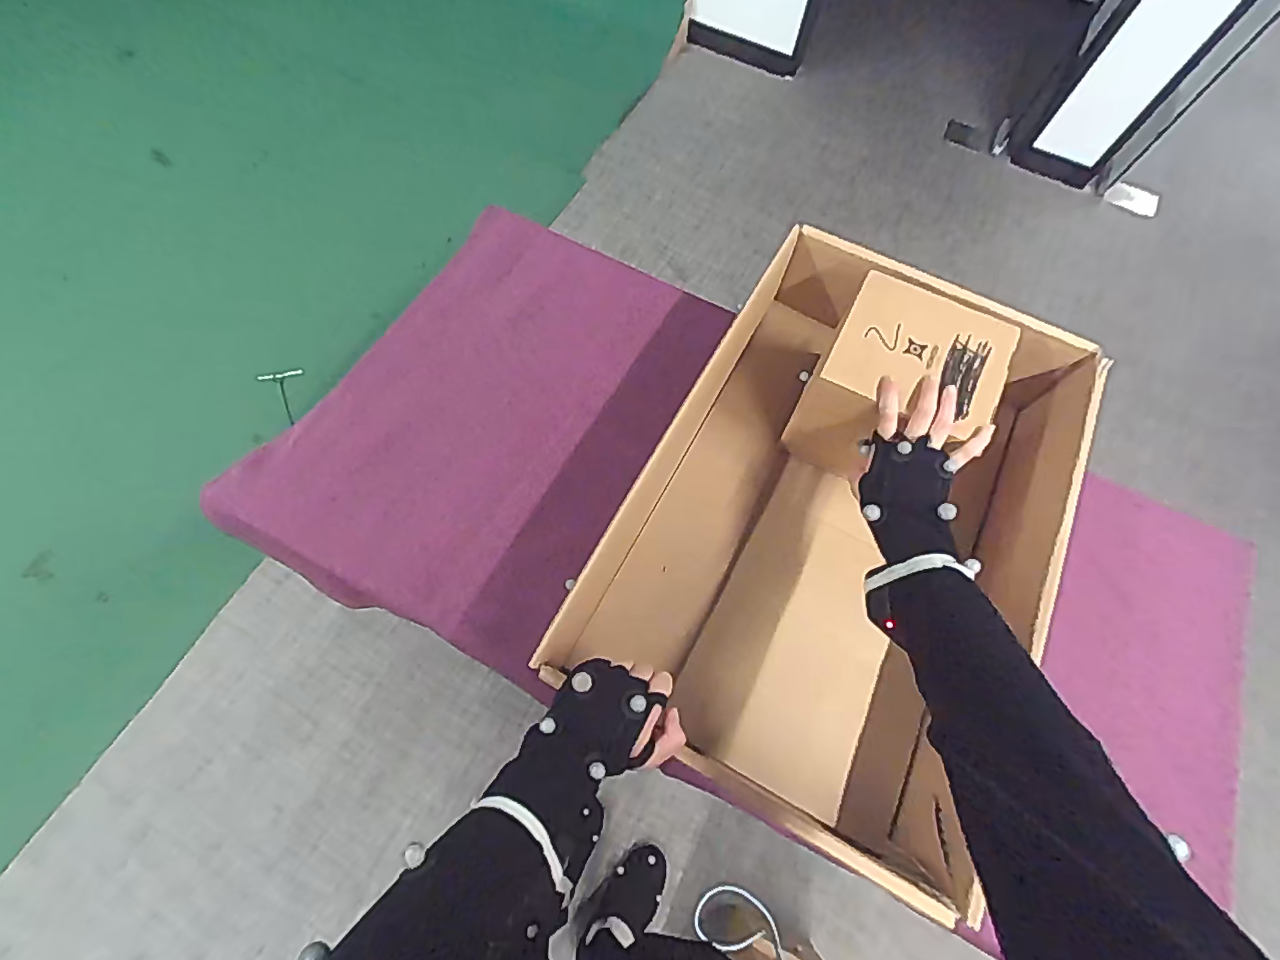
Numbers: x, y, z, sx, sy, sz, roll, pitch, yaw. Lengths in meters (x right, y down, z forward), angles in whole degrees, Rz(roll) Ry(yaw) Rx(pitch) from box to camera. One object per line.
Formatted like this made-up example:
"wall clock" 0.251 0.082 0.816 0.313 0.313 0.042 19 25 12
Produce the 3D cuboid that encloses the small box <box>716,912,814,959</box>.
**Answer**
"small box" 0.247 0.983 1.039 0.179 0.176 0.168 25 68 8
